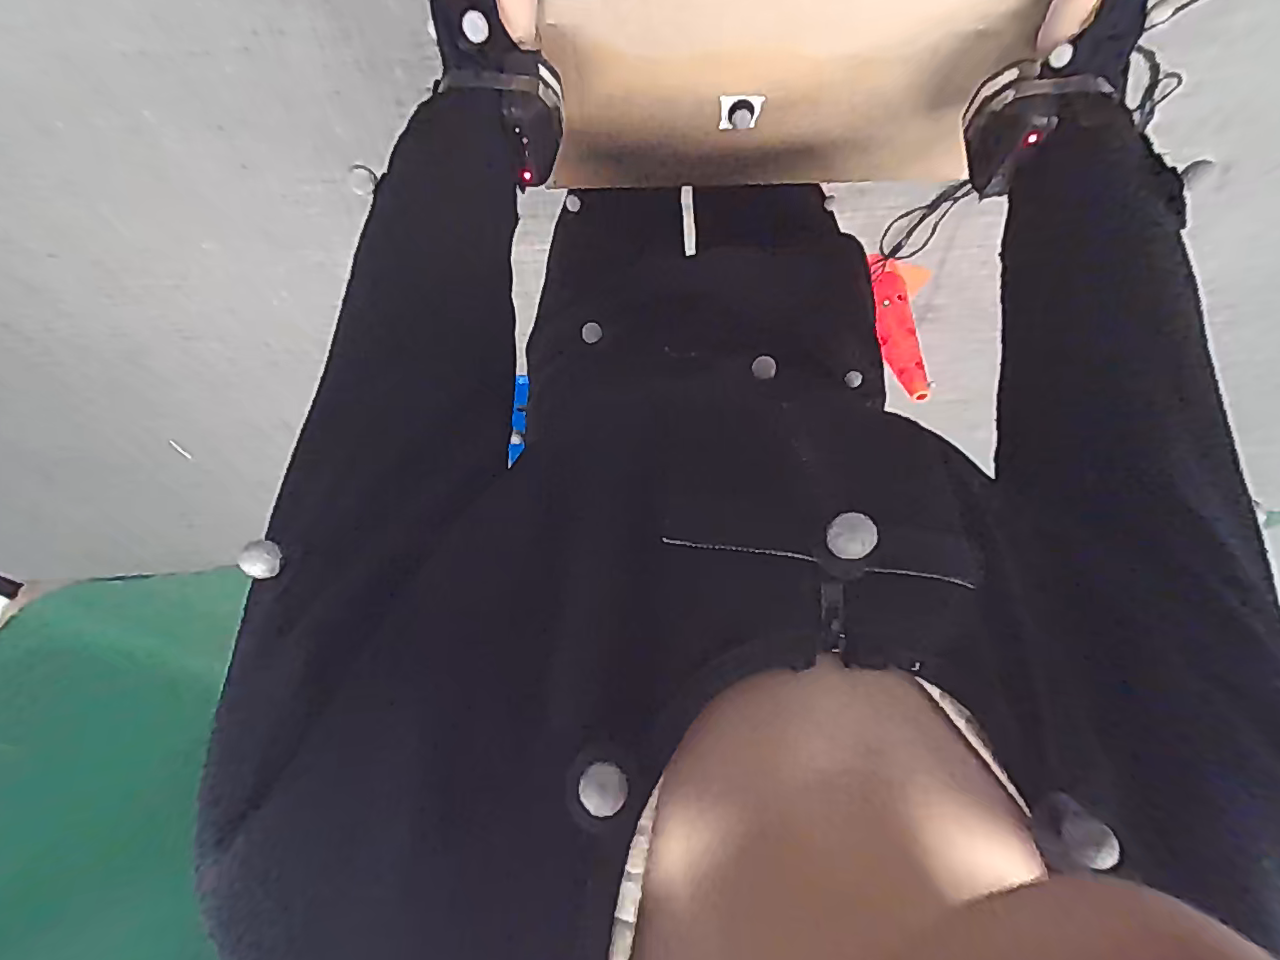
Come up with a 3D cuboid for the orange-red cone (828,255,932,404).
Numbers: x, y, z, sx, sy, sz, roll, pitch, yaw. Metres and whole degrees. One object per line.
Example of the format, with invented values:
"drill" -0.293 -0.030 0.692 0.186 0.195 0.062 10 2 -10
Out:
"orange-red cone" 0.616 -0.328 1.282 0.199 0.360 0.198 7 146 -19
